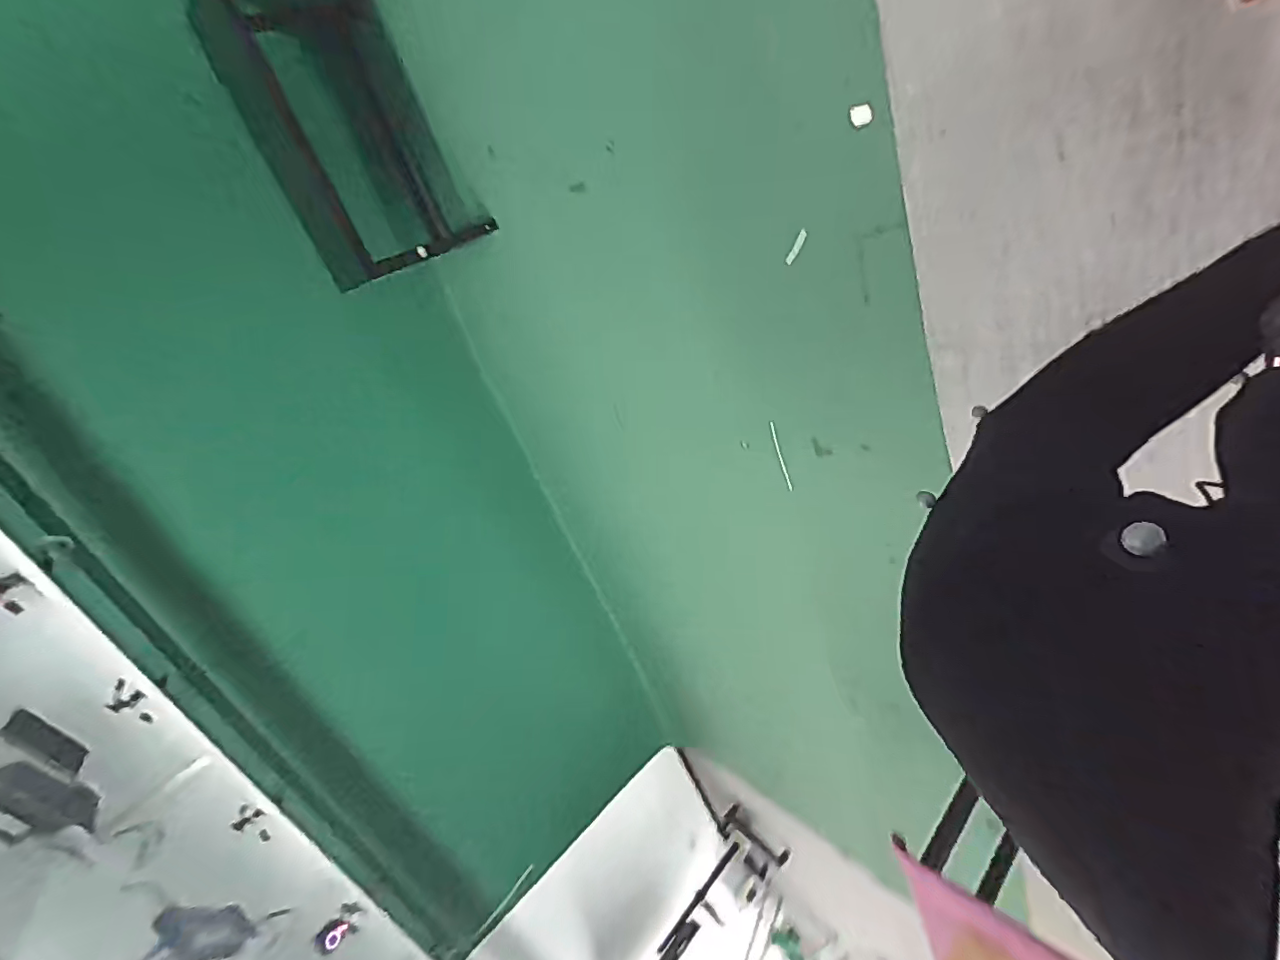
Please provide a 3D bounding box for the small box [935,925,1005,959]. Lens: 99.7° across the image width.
[{"bbox_3d":[0.962,1.450,1.555,0.168,0.176,0.179,10,130,51],"label":"small box"}]
